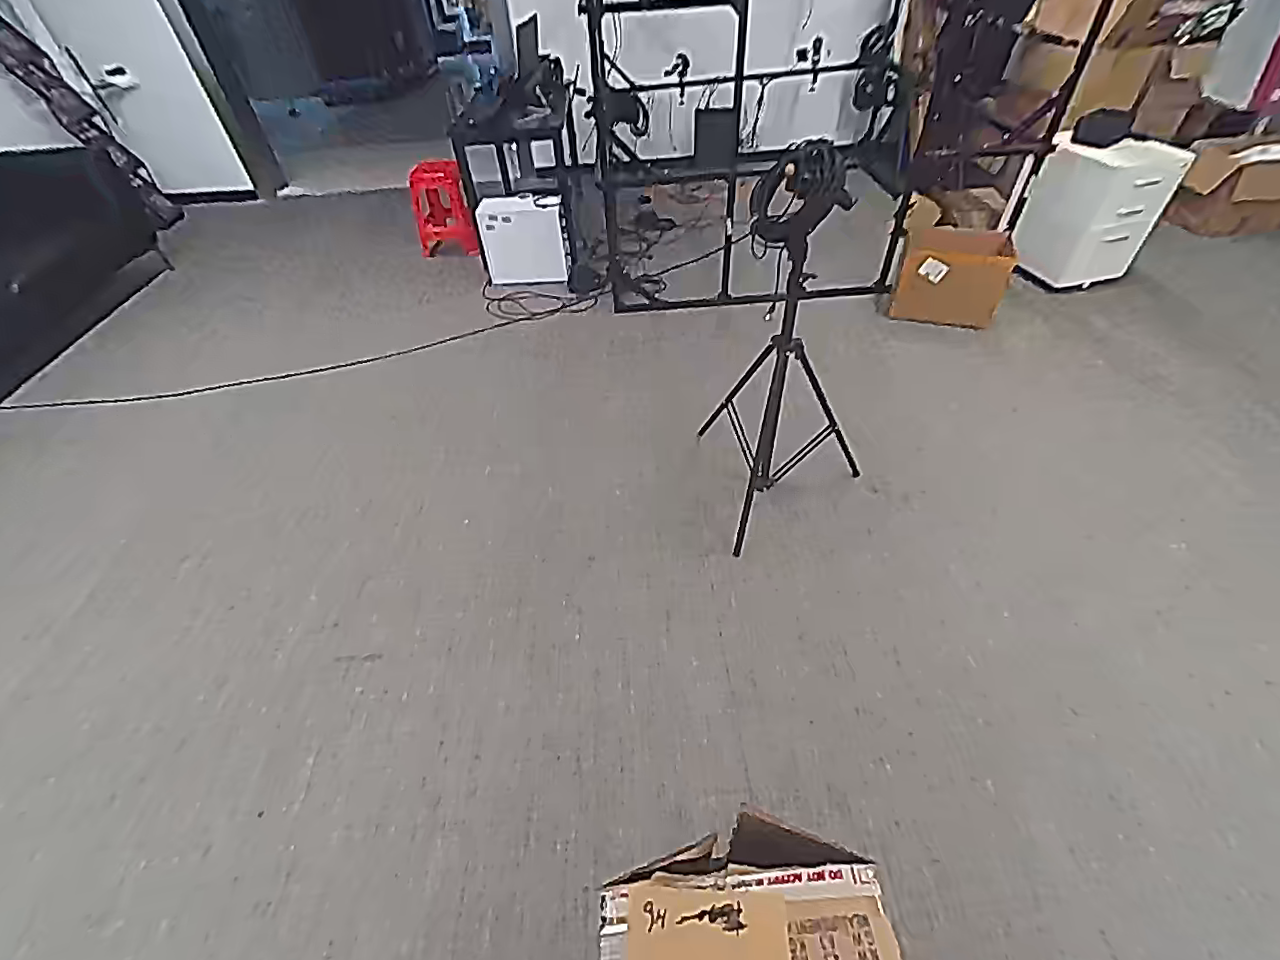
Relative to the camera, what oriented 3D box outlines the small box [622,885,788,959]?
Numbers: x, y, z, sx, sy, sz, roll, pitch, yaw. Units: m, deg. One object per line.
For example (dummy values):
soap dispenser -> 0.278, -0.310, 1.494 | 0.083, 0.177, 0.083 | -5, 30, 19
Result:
small box -> 0.063, 0.549, 0.569 | 0.168, 0.176, 0.179 | 3, 48, 3
